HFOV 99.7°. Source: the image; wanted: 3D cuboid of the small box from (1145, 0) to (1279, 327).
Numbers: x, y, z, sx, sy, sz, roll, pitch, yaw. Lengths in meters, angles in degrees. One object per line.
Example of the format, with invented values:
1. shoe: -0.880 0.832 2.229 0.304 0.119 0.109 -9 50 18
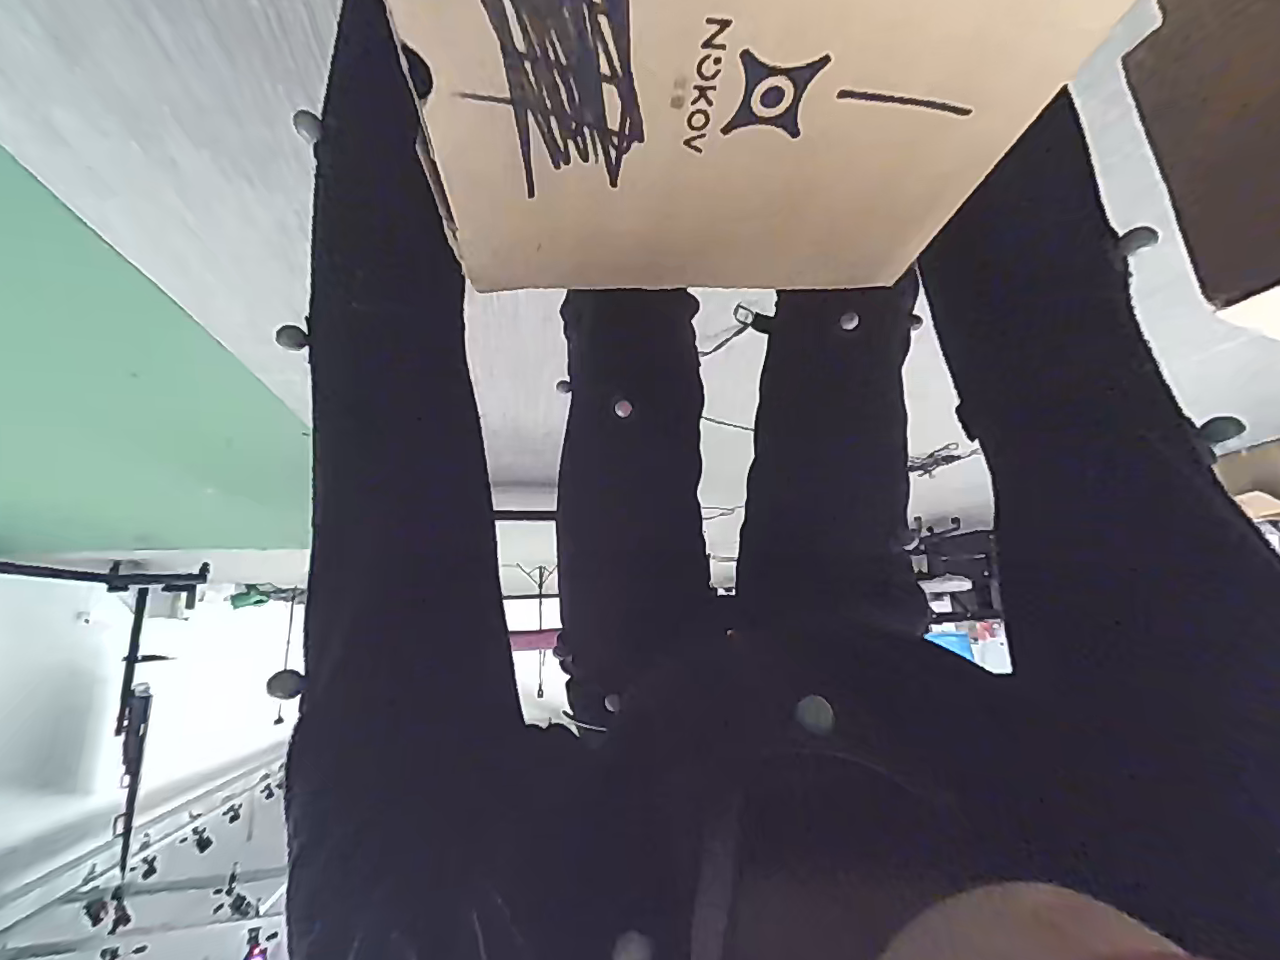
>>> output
1. small box: 0.396 -0.183 0.255 0.179 0.176 0.168 4 164 -24

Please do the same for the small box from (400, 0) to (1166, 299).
1. small box: 0.028 -0.177 0.162 0.179 0.176 0.168 -2 164 -6
